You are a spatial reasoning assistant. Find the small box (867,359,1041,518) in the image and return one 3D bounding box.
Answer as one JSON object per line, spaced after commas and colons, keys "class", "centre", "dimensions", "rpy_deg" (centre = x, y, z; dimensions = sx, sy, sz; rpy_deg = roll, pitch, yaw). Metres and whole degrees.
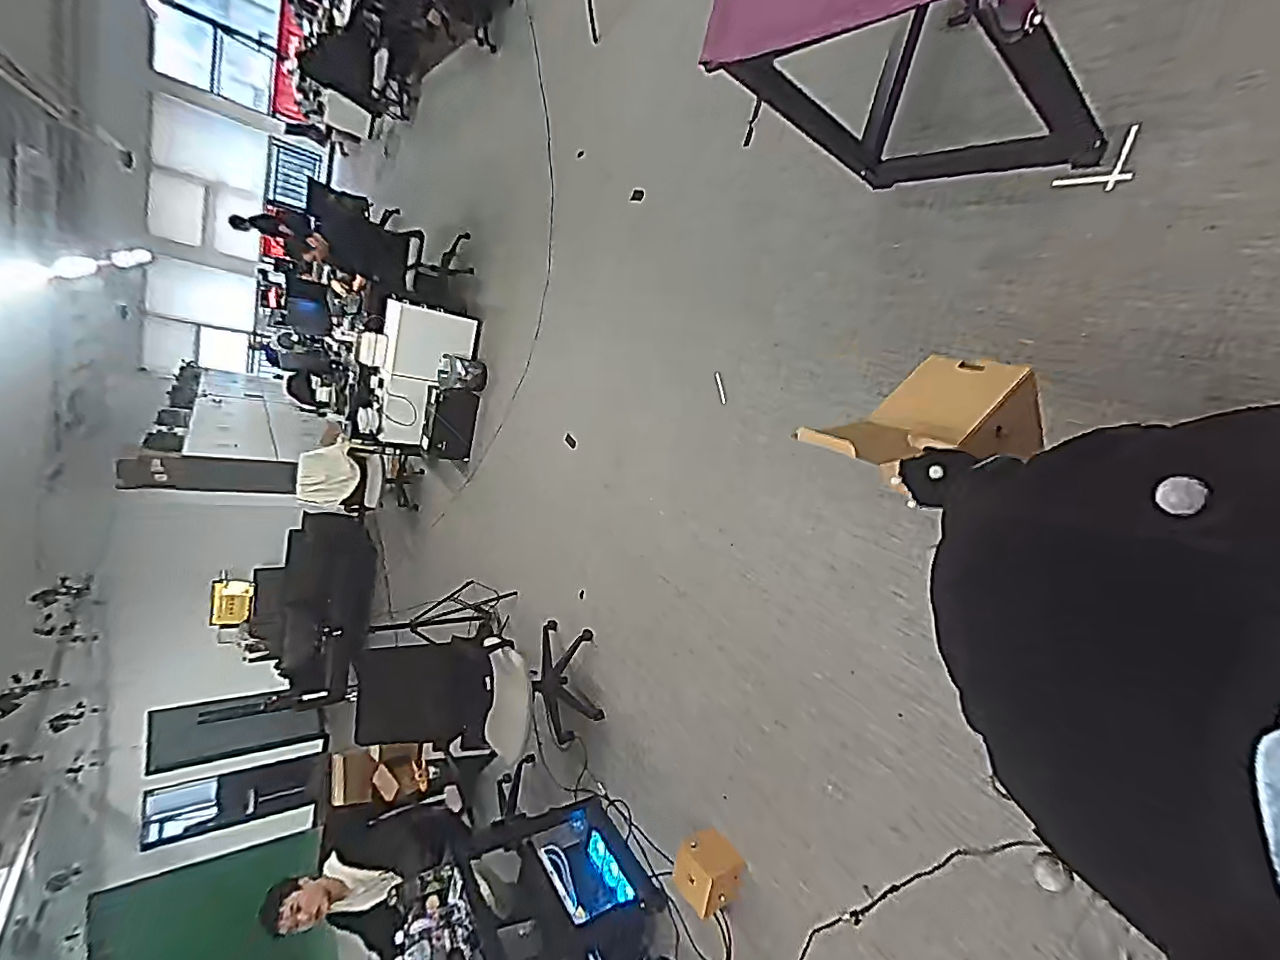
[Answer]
{"class": "small box", "centre": [0.508, -0.068, 0.869], "dimensions": [0.179, 0.176, 0.168], "rpy_deg": [-42, 32, -10]}
